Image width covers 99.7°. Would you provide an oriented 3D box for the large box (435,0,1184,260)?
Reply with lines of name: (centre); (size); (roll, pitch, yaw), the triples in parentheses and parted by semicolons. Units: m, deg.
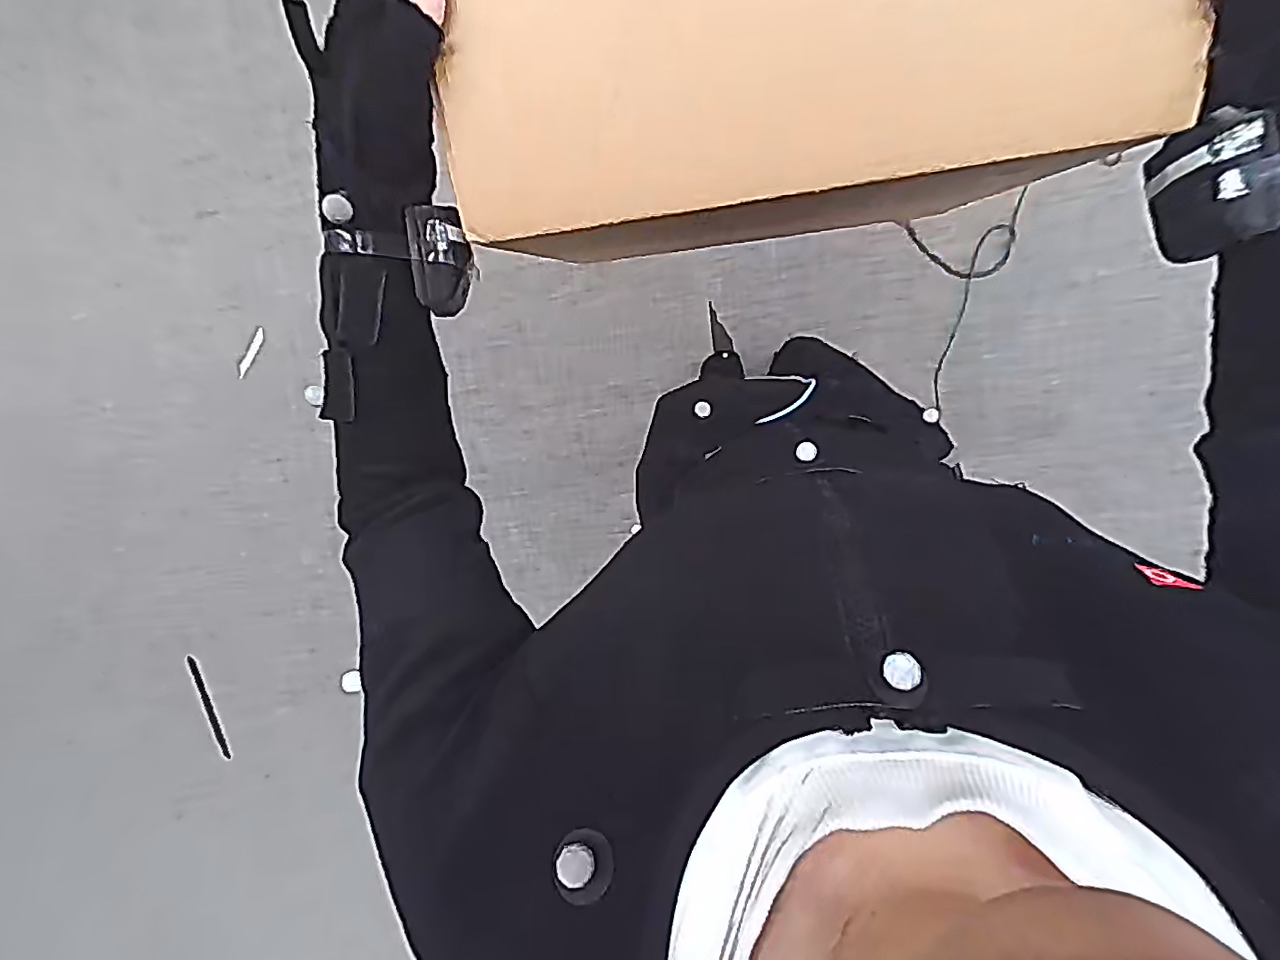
large box: (0.086, -0.372, 0.417); (0.408, 0.320, 0.320); (-6, 109, 8)
